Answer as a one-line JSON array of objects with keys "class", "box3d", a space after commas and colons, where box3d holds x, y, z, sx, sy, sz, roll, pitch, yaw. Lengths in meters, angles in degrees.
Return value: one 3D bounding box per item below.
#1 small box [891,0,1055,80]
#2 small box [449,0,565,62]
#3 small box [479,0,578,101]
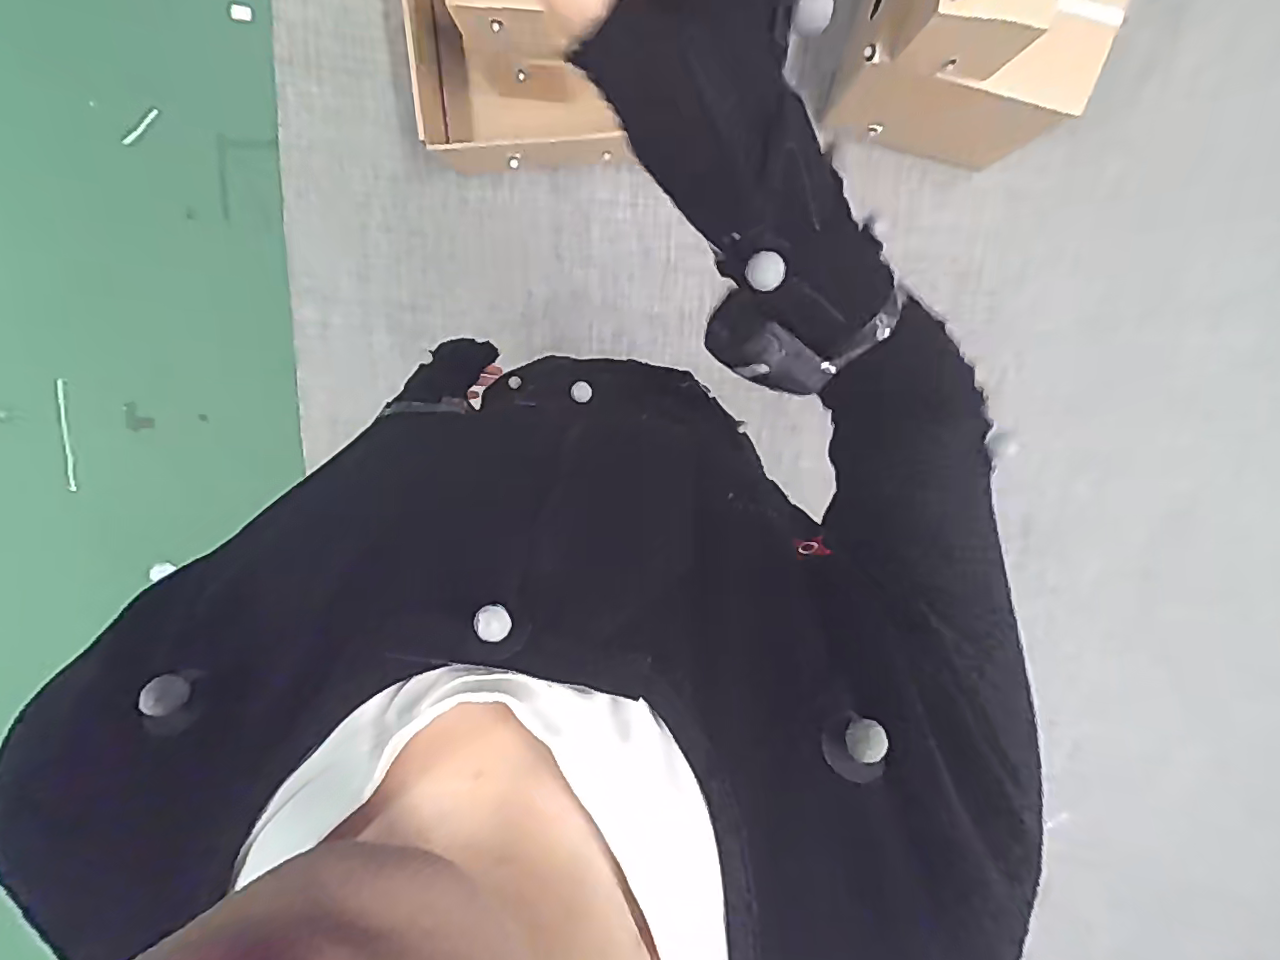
[{"class": "small box", "box3d": [0.545, -0.788, 0.879, 0.179, 0.176, 0.168, 9, 104, -1]}, {"class": "small box", "box3d": [-0.235, -0.900, 0.984, 0.179, 0.176, 0.168, 3, 103, -1]}, {"class": "small box", "box3d": [-0.230, -0.934, 1.145, 0.179, 0.176, 0.168, 3, 103, -2]}]
